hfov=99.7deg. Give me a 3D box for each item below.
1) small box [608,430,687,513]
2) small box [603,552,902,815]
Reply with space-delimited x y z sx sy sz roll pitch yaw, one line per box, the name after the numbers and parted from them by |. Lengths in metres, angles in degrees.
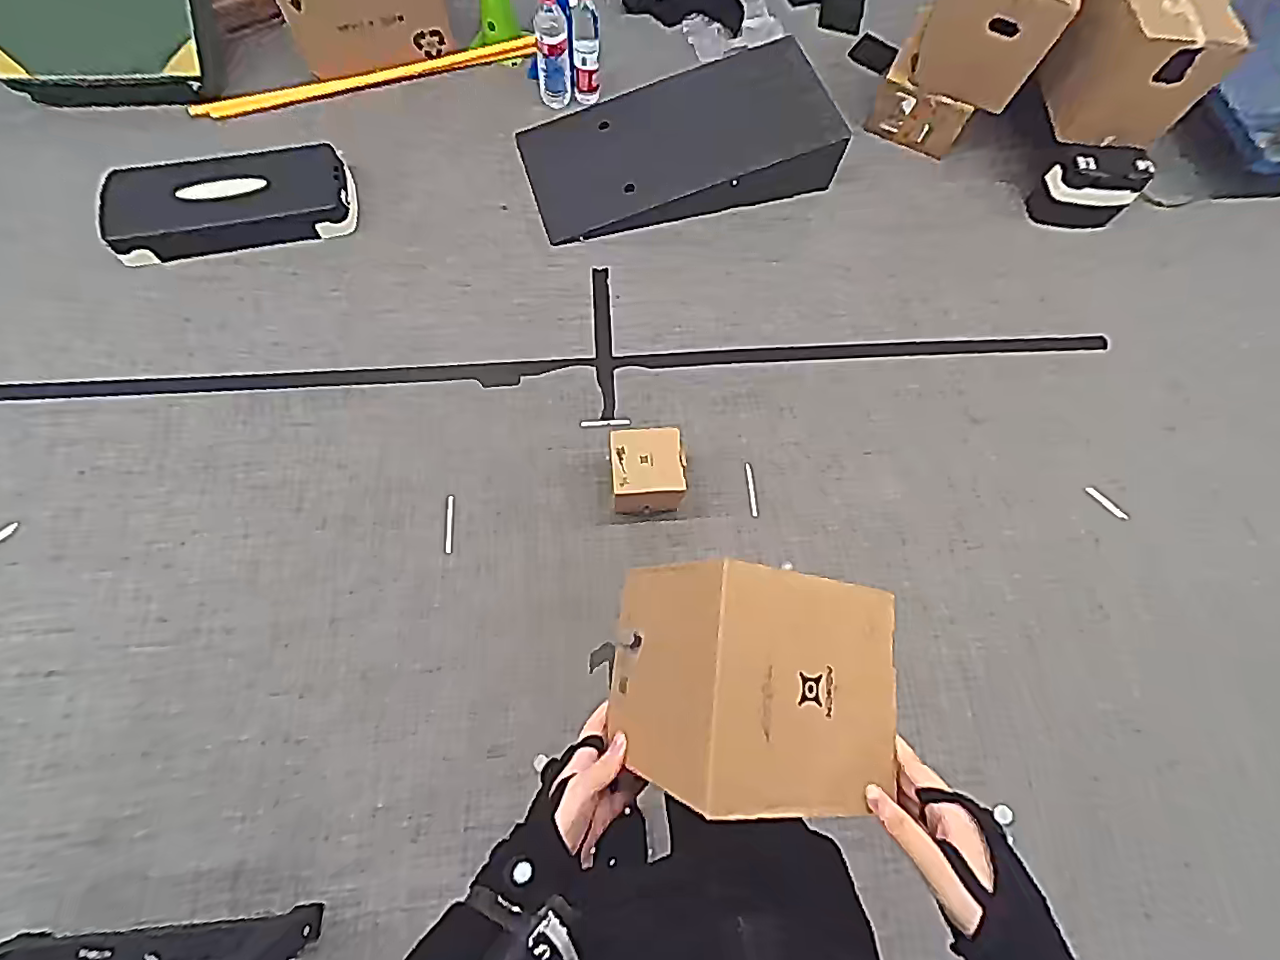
0.013 -0.017 1.366 0.179 0.176 0.168 -3 71 -6 | small box
0.089 0.160 0.453 0.179 0.176 0.168 15 72 -24 | small box
